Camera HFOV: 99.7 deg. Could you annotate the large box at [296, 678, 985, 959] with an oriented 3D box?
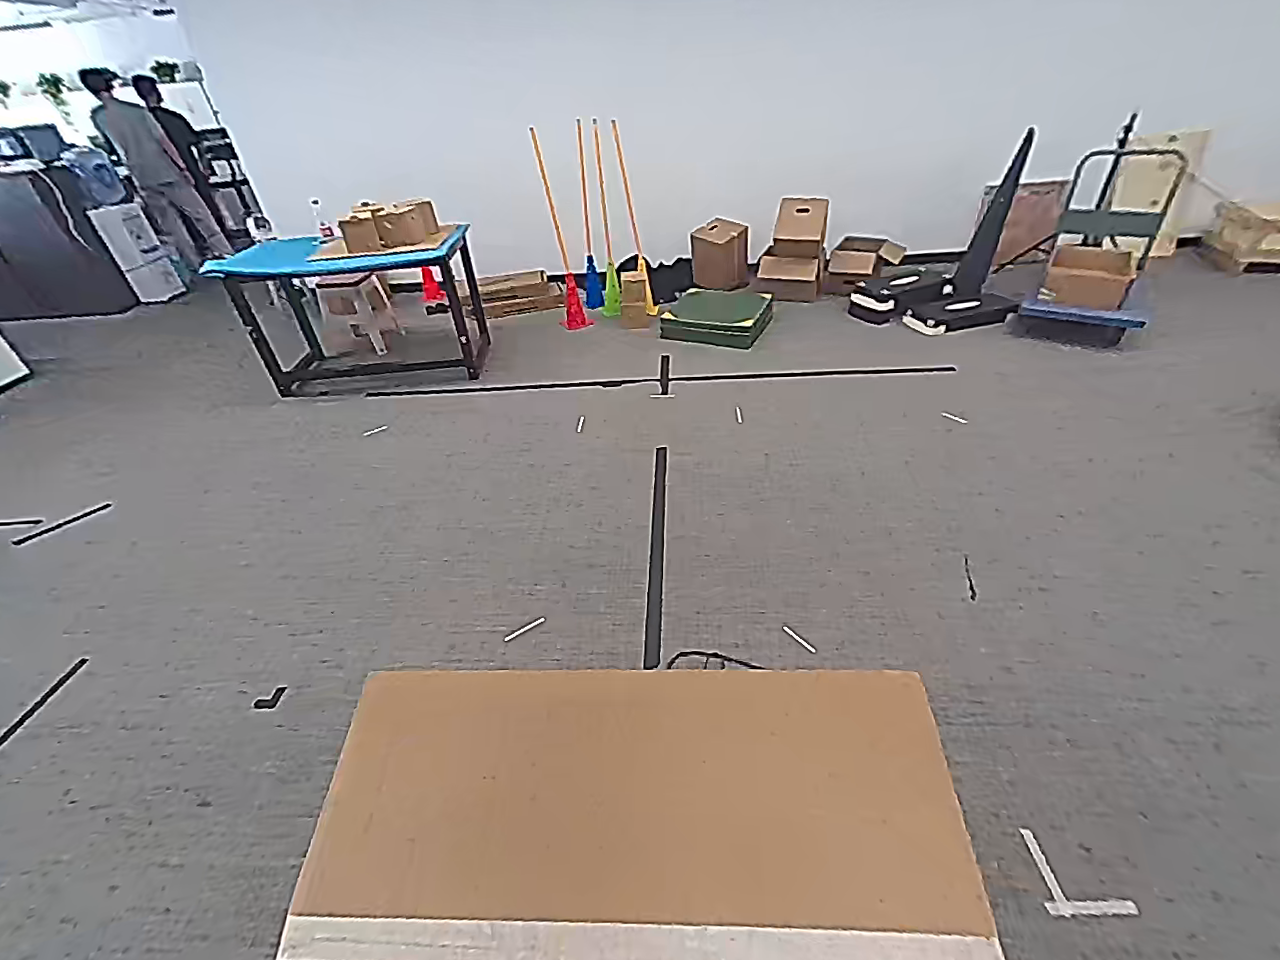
[{"bbox_3d":[0.004,0.364,0.428,0.408,0.320,0.320,-2,53,5],"label":"large box"}]
